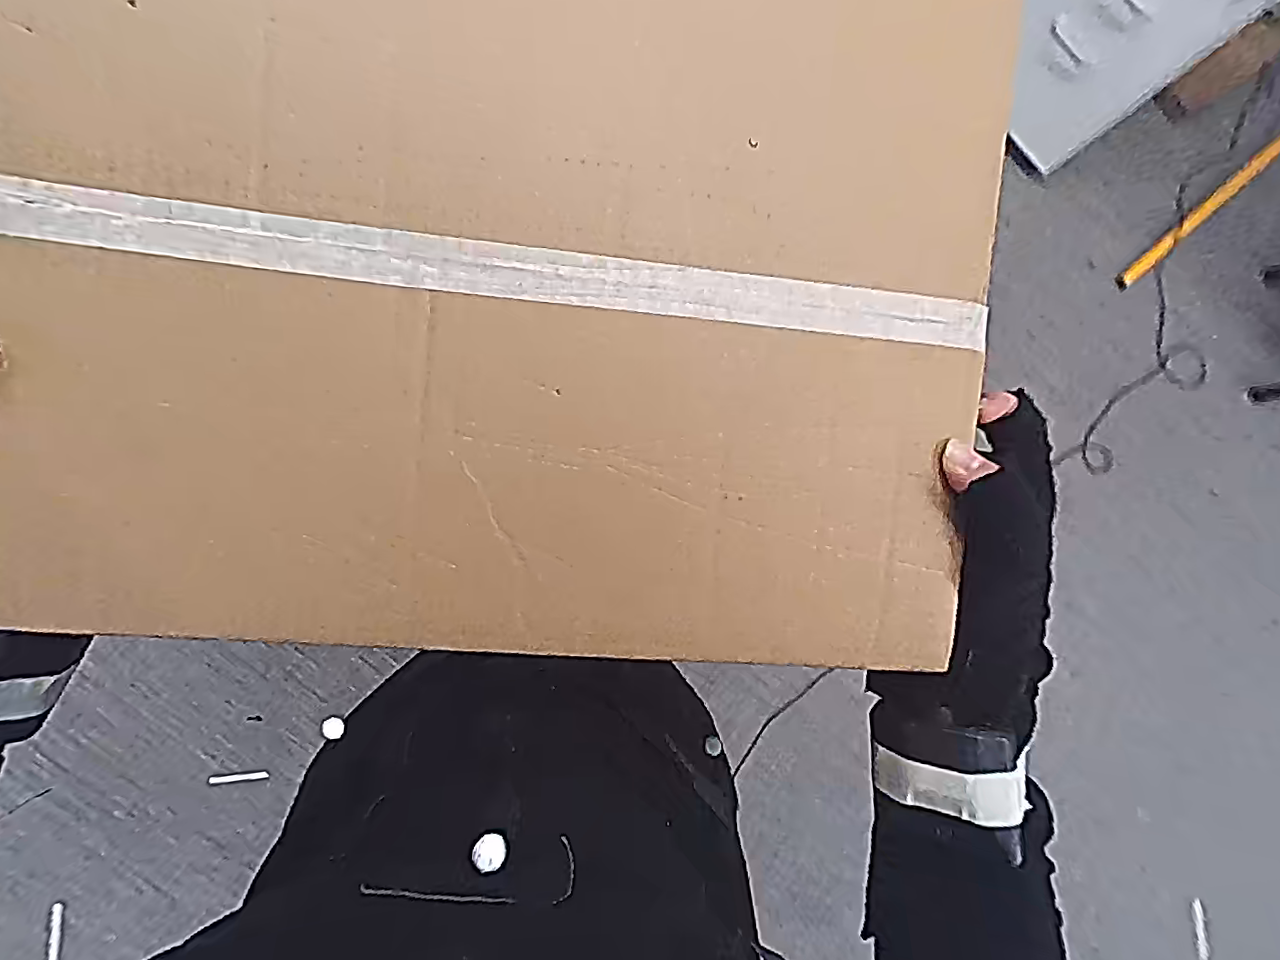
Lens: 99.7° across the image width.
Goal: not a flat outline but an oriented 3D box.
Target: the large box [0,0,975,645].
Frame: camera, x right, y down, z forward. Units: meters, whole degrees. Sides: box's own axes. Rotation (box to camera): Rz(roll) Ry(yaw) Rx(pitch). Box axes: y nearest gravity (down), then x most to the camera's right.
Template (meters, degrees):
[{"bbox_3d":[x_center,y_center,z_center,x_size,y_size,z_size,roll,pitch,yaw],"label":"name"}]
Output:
[{"bbox_3d":[-0.068,-0.093,0.379,0.408,0.320,0.320,4,92,-7],"label":"large box"}]
